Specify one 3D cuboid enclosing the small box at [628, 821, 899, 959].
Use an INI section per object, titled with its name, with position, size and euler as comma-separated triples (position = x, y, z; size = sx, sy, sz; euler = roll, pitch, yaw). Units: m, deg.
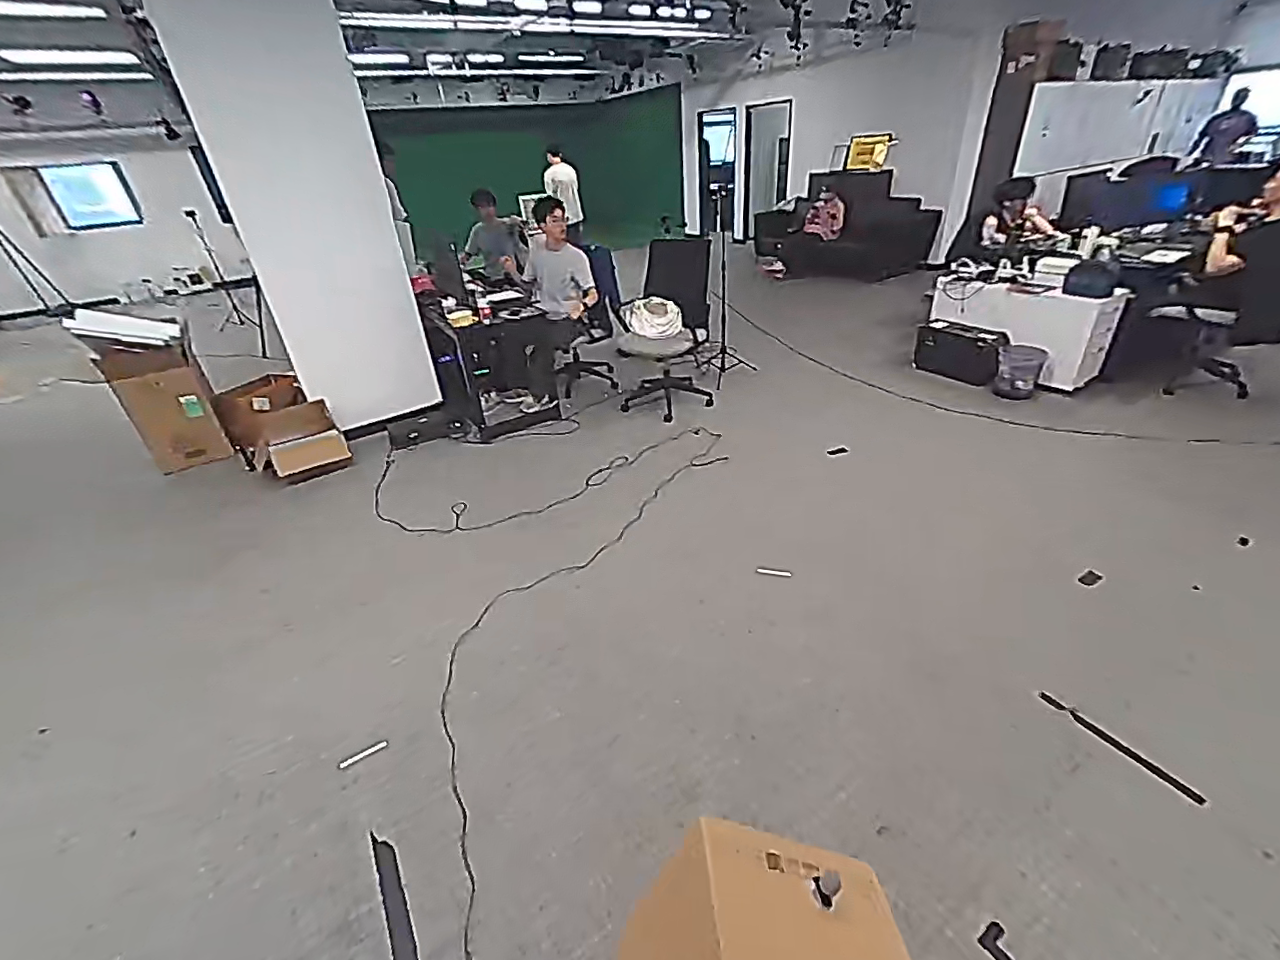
[small box]
position = 0.093, 0.405, 0.406
size = 0.168, 0.179, 0.176
euler = 22, 20, -11
